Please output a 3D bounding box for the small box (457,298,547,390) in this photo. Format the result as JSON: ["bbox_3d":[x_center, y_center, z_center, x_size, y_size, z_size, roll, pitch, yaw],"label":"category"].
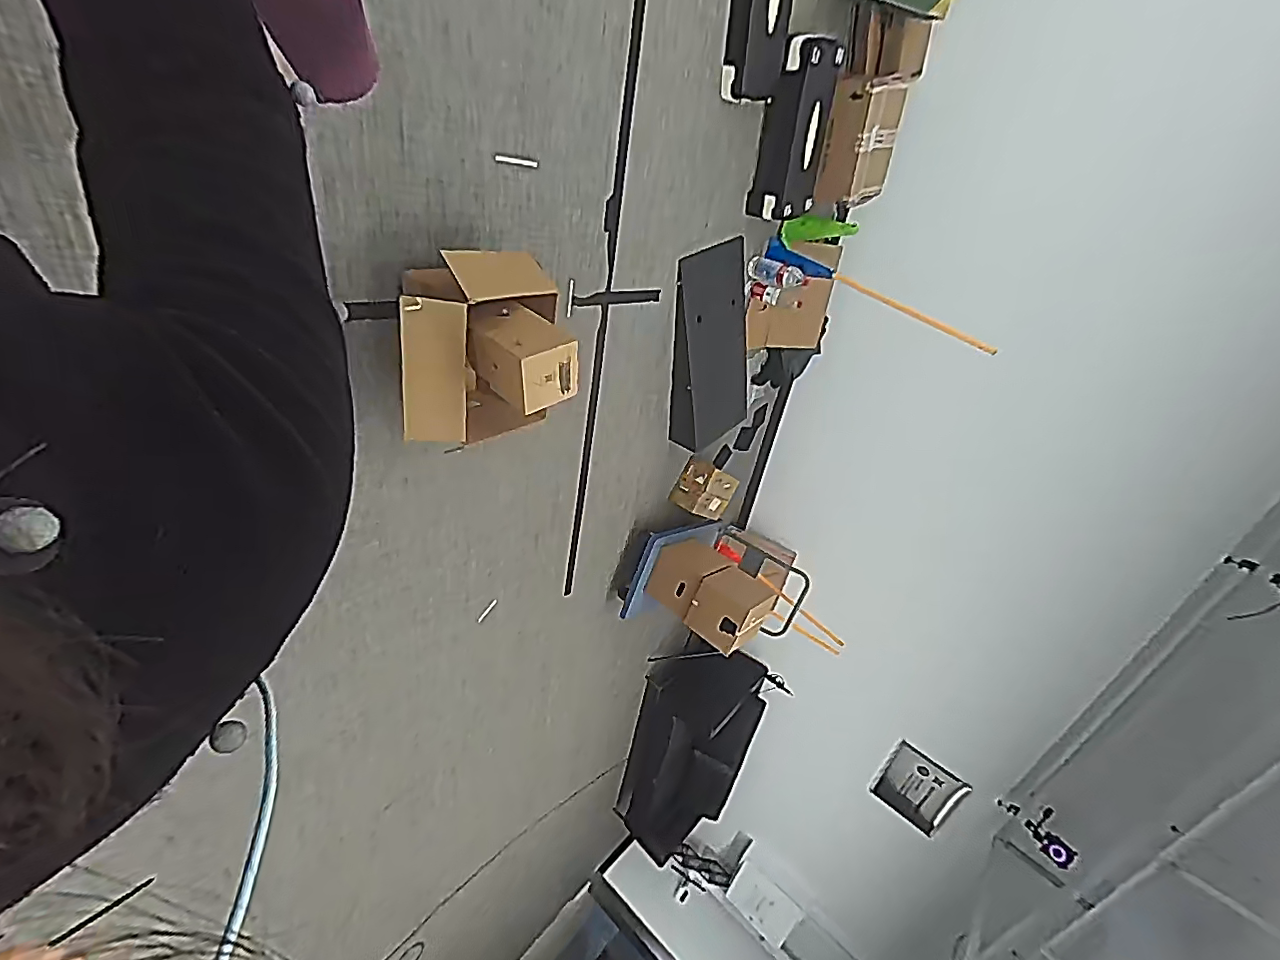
[{"bbox_3d":[-0.389,-0.392,1.526,0.168,0.176,0.179,-37,147,-26],"label":"small box"}]
